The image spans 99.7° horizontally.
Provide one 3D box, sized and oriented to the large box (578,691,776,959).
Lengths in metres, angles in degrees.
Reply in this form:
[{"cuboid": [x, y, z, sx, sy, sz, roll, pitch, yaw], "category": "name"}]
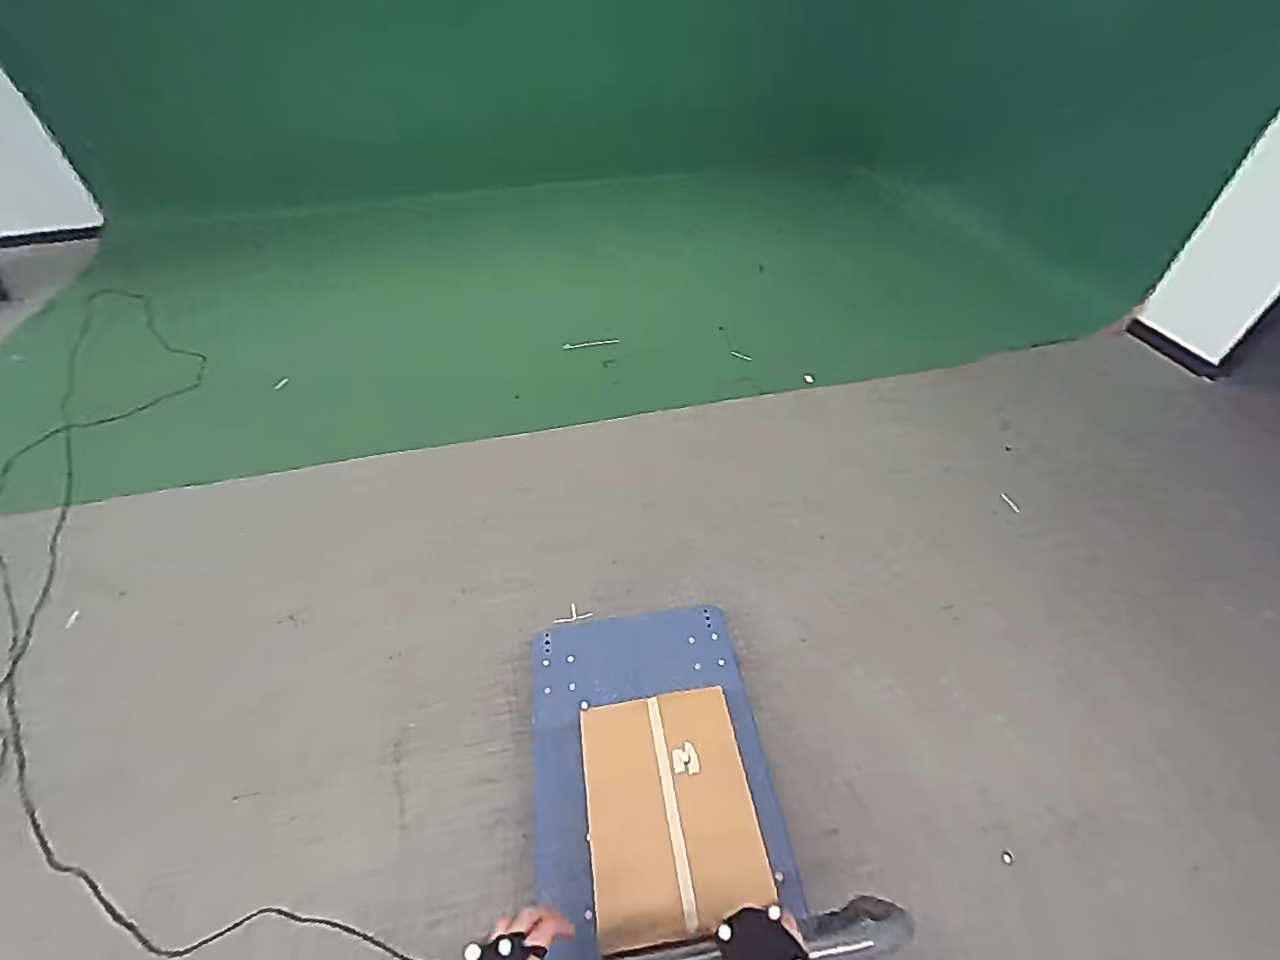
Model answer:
[{"cuboid": [0.056, 0.727, 1.145, 0.320, 0.320, 0.408, -7, 46, -6], "category": "large box"}]
